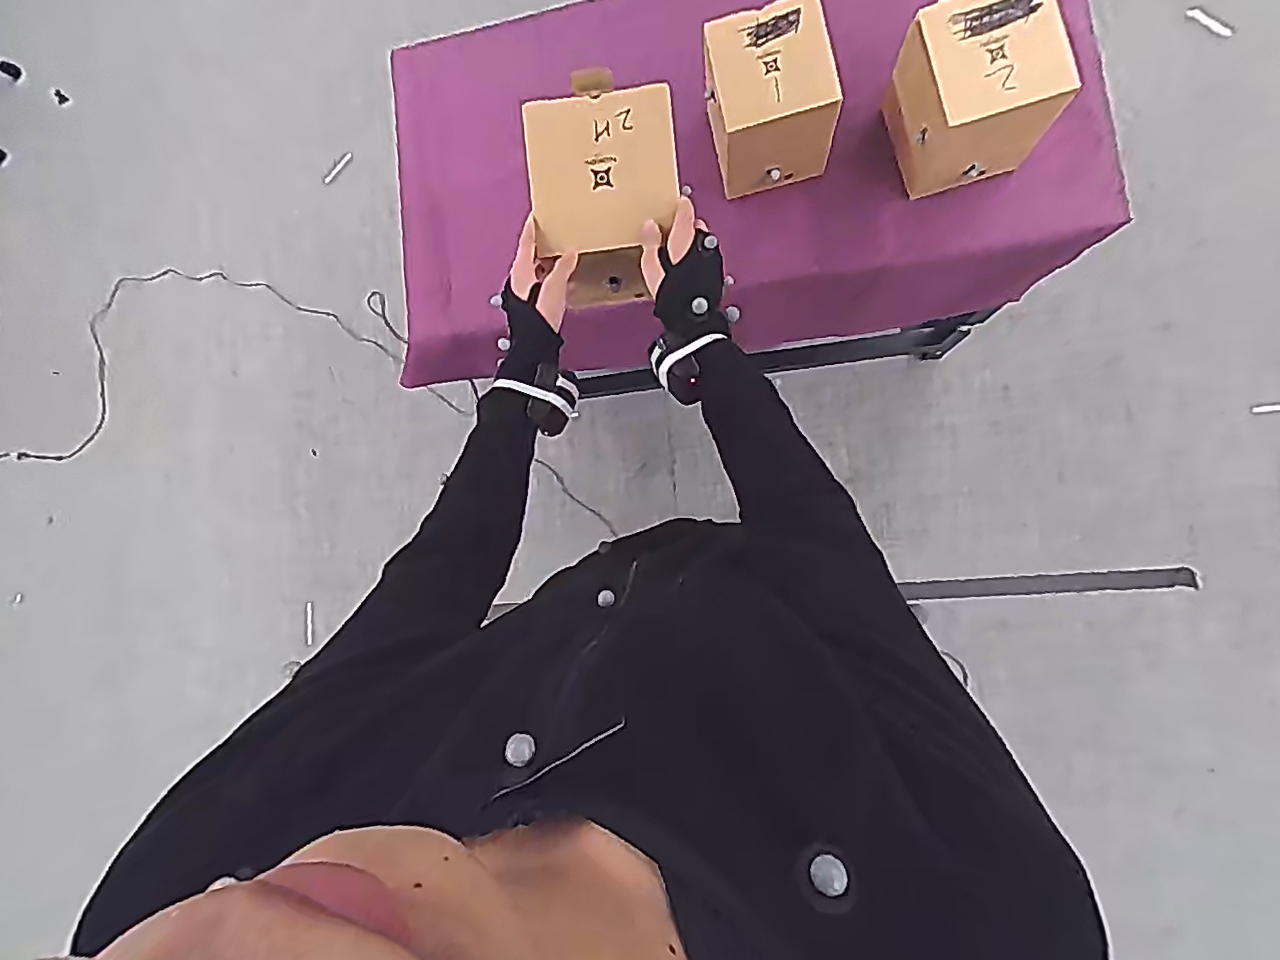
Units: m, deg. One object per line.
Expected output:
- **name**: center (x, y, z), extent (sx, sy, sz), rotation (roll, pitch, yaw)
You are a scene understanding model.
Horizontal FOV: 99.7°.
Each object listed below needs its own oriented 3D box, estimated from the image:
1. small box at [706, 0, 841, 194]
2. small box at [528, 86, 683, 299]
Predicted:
- **small box**: center (0.201, -0.596, 0.854), extent (0.168, 0.176, 0.179), rotation (-12, 84, 9)
- **small box**: center (-0.034, -0.342, 0.681), extent (0.168, 0.176, 0.179), rotation (-5, 88, 3)
